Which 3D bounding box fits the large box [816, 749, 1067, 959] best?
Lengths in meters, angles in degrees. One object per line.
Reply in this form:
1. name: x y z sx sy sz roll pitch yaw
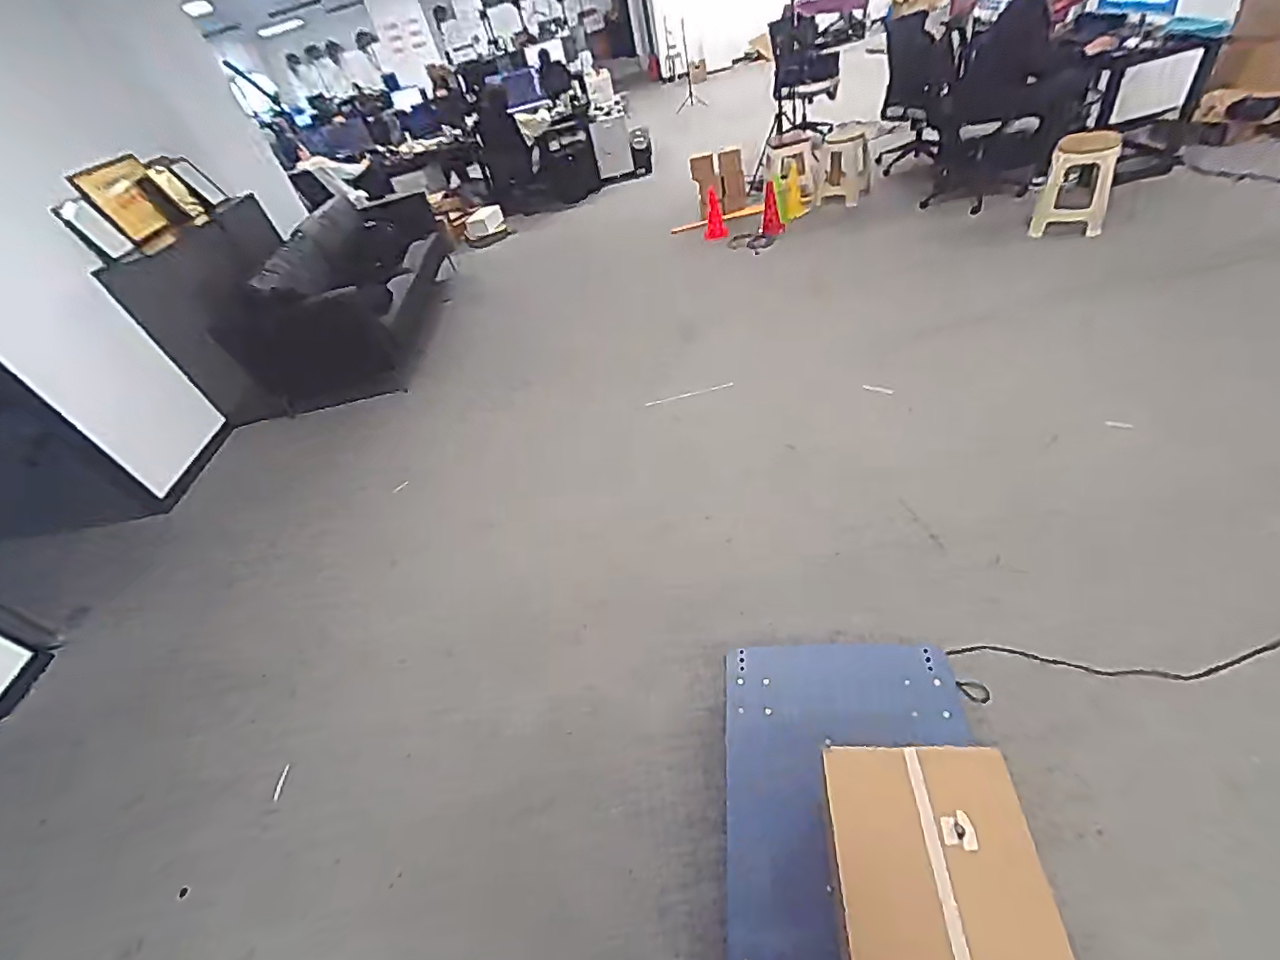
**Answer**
1. large box: 0.505 0.751 0.970 0.320 0.320 0.408 -5 44 12
